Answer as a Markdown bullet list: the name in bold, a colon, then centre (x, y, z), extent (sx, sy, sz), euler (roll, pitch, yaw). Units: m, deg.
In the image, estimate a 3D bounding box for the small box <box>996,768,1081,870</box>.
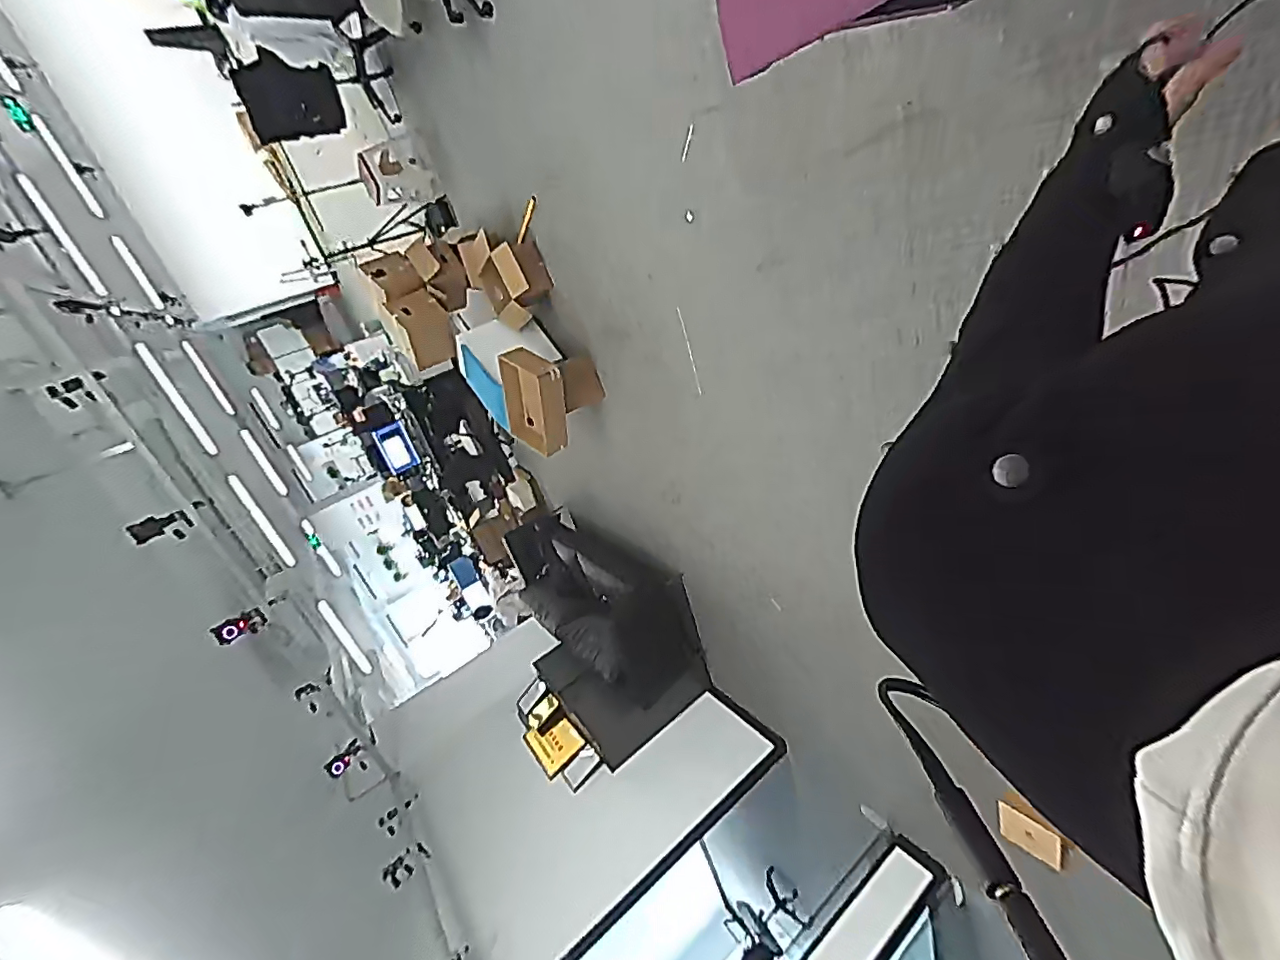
- **small box**: centre (1.246, 1.050, 1.691), extent (0.168, 0.176, 0.179), euler (18, 134, 55)
